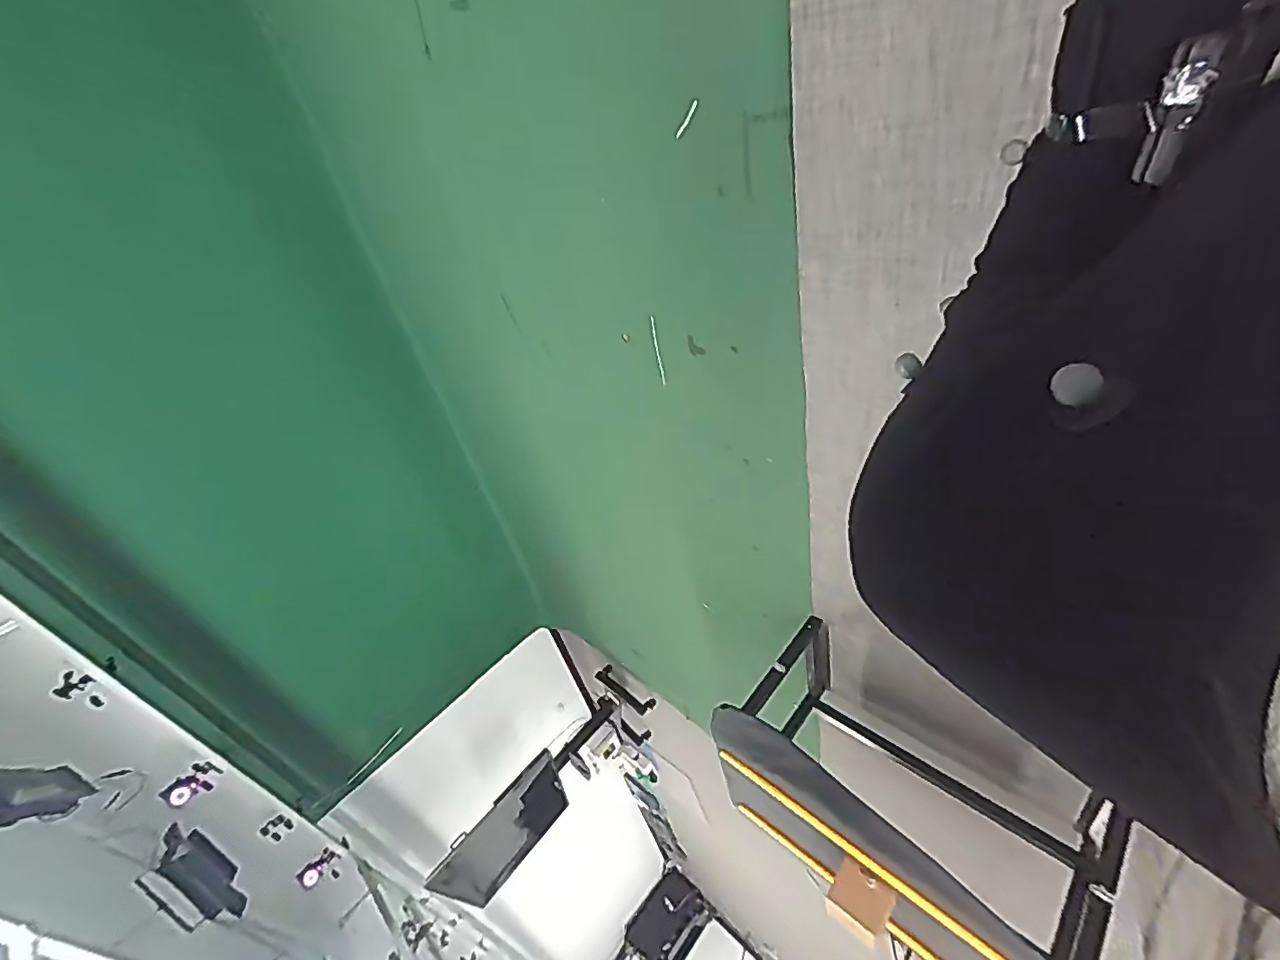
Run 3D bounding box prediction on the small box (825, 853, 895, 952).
[{"bbox_3d":[0.731,1.398,1.795,0.168,0.176,0.179,19,137,41],"label":"small box"}]
